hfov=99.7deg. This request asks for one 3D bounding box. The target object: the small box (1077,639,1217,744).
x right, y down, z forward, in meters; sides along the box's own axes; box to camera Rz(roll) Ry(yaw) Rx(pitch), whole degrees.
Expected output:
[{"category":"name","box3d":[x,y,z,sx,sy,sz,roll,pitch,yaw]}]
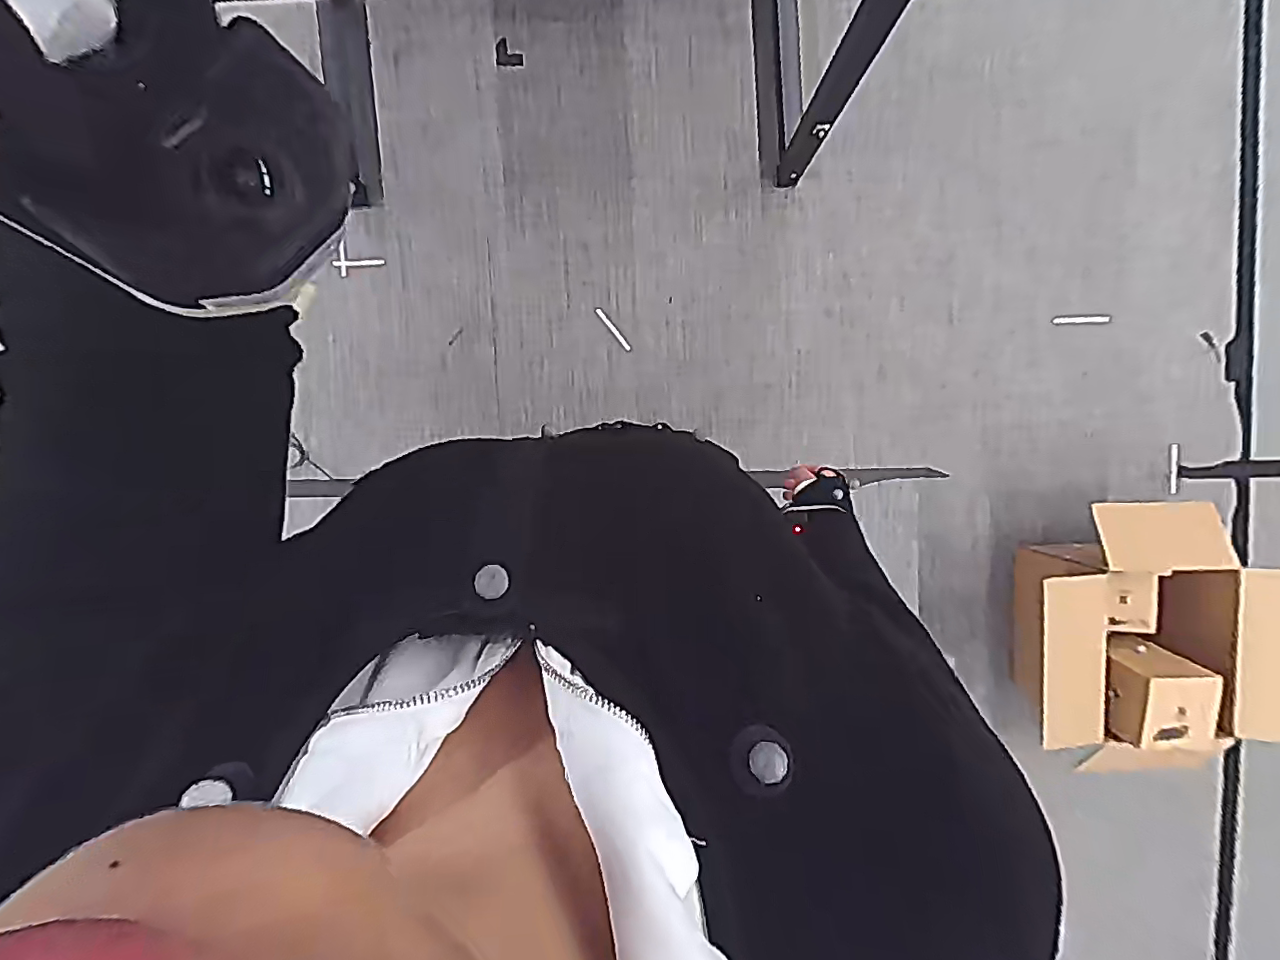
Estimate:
[{"category":"small box","box3d":[1.182,0.494,1.276,0.168,0.176,0.179,0,98,-2]}]
